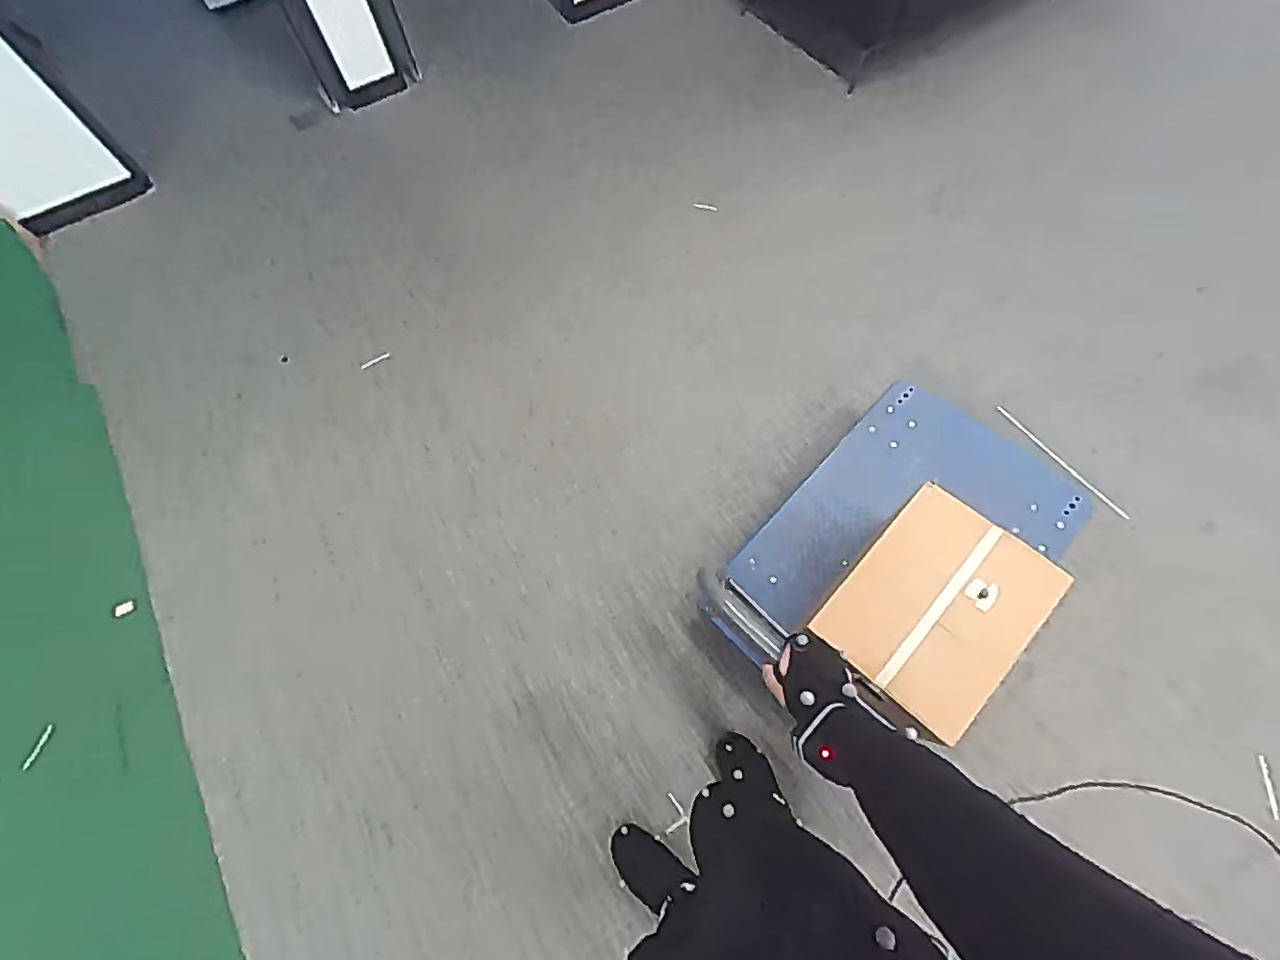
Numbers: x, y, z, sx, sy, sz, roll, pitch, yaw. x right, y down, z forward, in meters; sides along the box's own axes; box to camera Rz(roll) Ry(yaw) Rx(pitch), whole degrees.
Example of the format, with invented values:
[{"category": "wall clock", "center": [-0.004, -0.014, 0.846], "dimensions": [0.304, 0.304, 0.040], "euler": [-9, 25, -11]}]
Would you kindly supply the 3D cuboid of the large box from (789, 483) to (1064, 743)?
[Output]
[{"category": "large box", "center": [0.582, 0.290, 1.173], "dimensions": [0.320, 0.320, 0.408], "euler": [41, 79, 18]}]
